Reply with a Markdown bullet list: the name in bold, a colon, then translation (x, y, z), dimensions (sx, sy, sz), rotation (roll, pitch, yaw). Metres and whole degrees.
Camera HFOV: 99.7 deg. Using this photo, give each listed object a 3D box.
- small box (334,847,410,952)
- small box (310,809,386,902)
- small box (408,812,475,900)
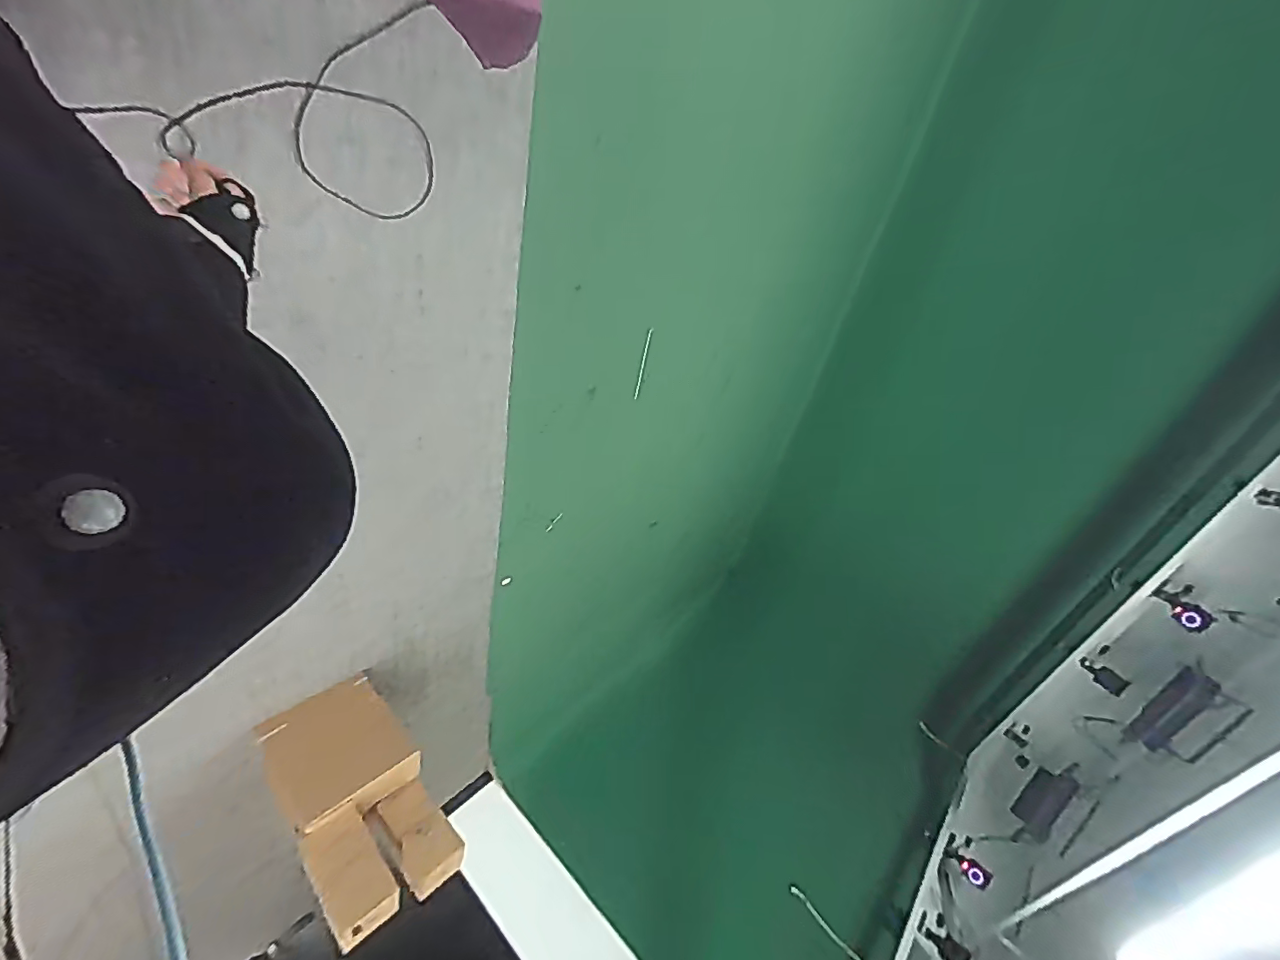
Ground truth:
- **small box**: translation (-0.877, 1.358, 1.760), dimensions (0.179, 0.176, 0.168), rotation (-21, 135, -46)
- **small box**: translation (-0.992, 1.276, 1.842), dimensions (0.179, 0.176, 0.168), rotation (-22, 134, -46)
- **small box**: translation (-0.738, 1.380, 1.996), dimensions (0.168, 0.176, 0.179), rotation (-20, 135, -49)
